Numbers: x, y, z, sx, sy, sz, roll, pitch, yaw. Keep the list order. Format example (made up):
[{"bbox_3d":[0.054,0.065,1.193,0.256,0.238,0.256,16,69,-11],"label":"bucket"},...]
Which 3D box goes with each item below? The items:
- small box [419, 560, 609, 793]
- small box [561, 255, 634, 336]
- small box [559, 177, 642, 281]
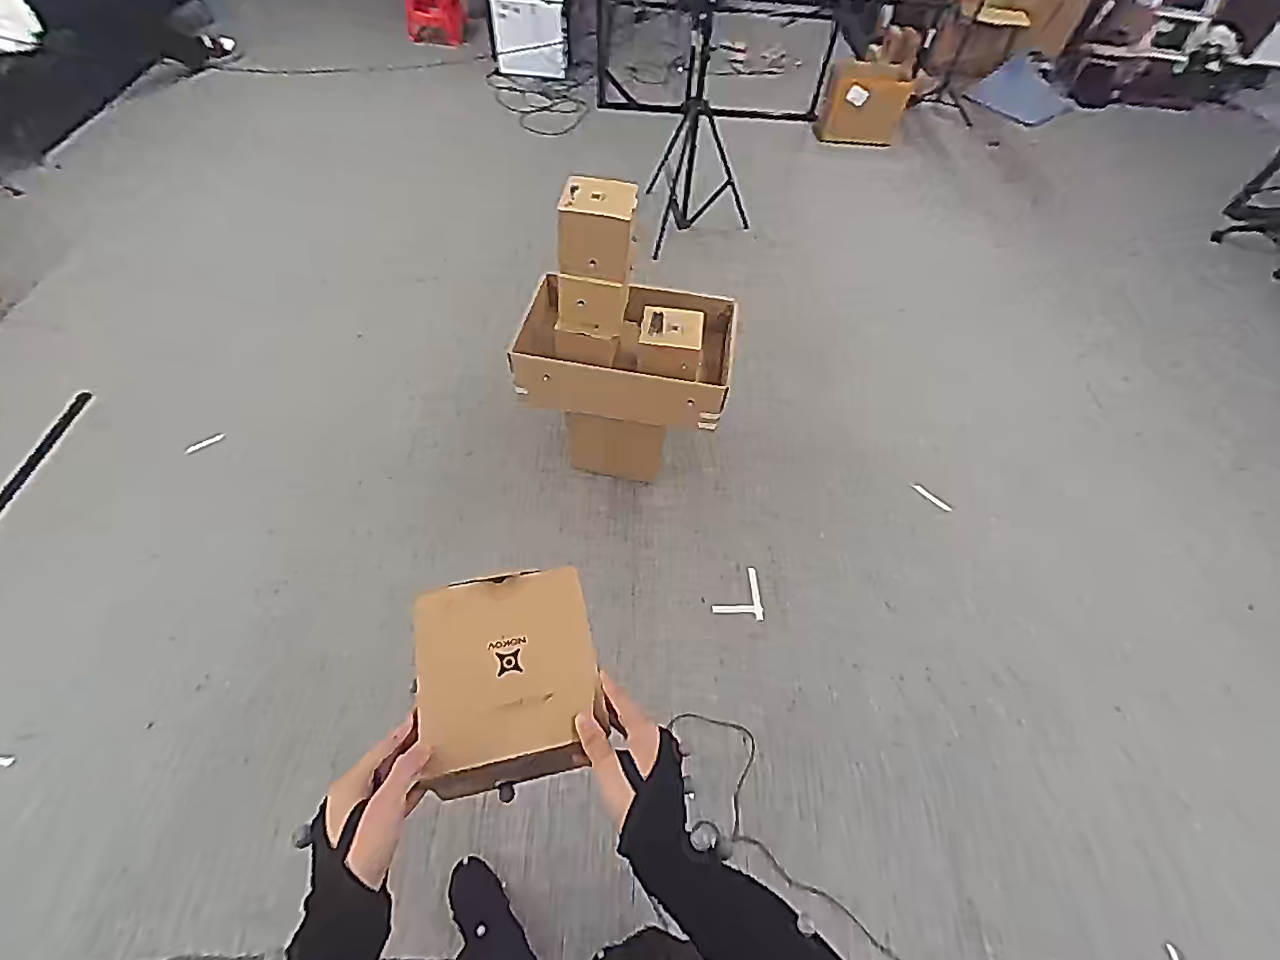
[{"bbox_3d":[-0.137,0.210,0.579,0.168,0.176,0.179,-6,55,-15],"label":"small box"},{"bbox_3d":[-0.114,-0.521,1.481,0.168,0.176,0.179,10,54,1],"label":"small box"},{"bbox_3d":[-0.098,-0.622,1.353,0.179,0.176,0.168,9,54,0],"label":"small box"}]
